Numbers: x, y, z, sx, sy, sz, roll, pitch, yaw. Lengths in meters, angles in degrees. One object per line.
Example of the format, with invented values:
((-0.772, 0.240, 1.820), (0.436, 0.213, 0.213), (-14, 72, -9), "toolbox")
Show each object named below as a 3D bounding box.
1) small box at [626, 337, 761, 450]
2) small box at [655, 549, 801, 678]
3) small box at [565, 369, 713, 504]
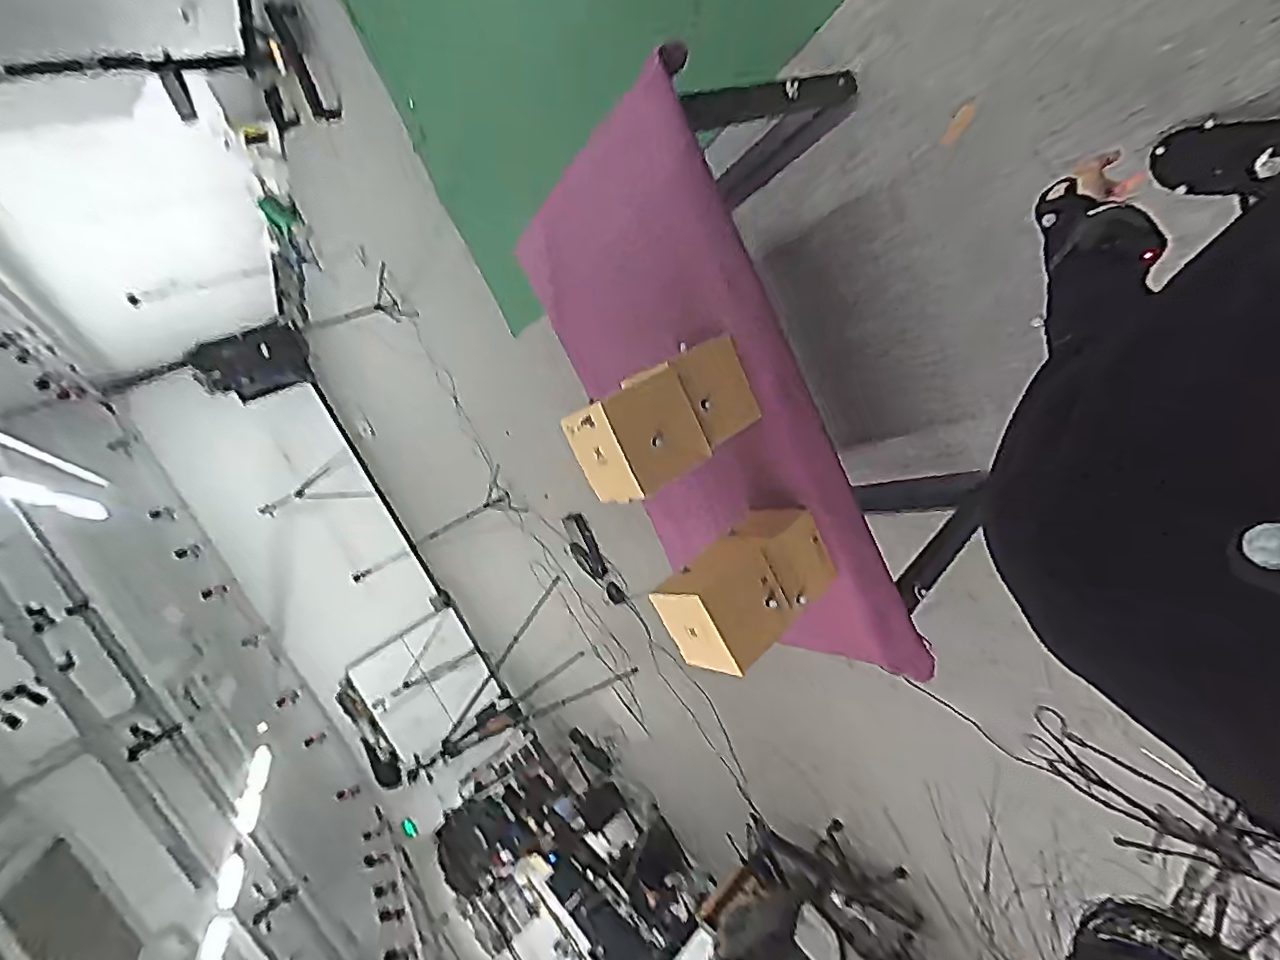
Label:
((0.109, -0.157, 1.066), (0.168, 0.176, 0.179), (-8, 111, 57), "small box")
((0.167, 0.244, 1.026), (0.168, 0.176, 0.179), (61, 150, -6), "small box")
((0.001, -0.074, 0.973), (0.168, 0.176, 0.179), (-10, 110, 58), "small box")
